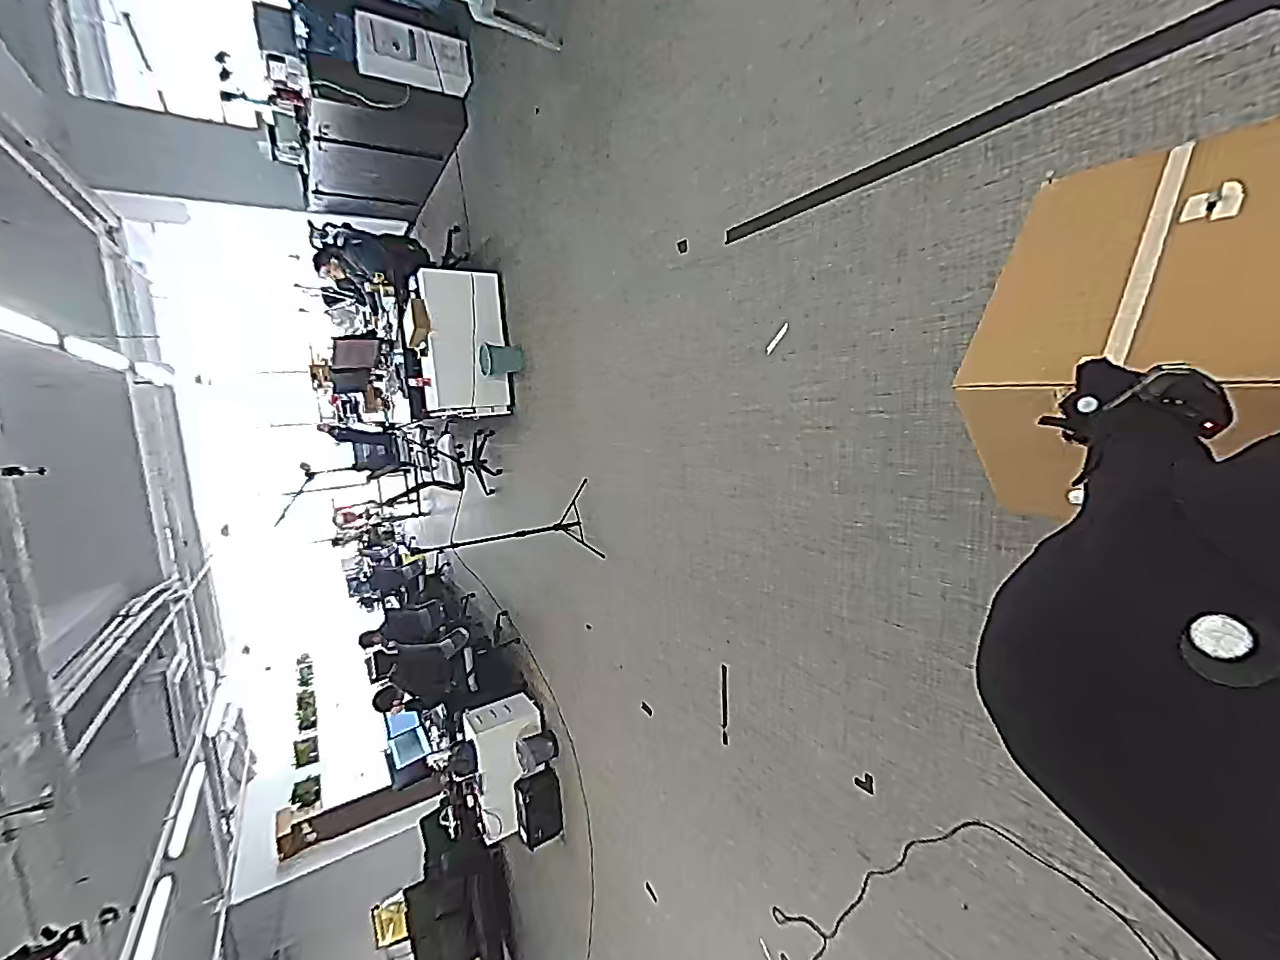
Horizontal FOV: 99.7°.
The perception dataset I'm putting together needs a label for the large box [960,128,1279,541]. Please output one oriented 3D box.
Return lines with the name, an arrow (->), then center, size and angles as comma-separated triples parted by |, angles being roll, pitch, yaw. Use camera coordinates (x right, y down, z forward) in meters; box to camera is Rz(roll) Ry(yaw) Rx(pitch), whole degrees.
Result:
large box -> 0.705, -0.179, 0.736 | 0.320, 0.320, 0.408 | 11, 63, 51
